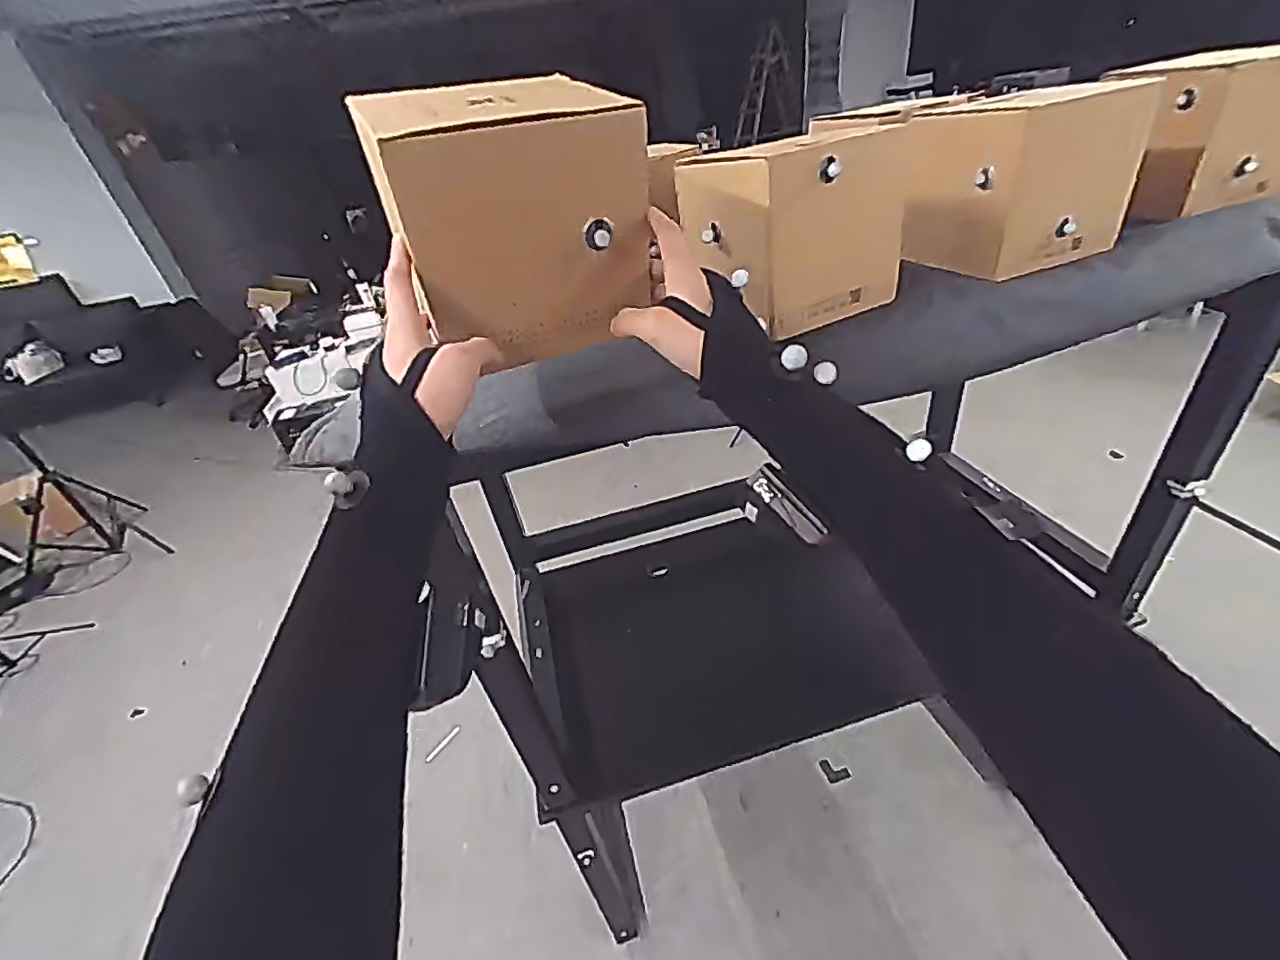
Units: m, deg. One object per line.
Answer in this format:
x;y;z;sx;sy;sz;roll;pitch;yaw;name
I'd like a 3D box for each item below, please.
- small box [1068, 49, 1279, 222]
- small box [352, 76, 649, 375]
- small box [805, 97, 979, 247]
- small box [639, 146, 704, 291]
0.726;-0.452;0.718;0.168;0.176;0.179;-13;35;-3;small box
-0.106;-0.210;0.440;0.179;0.176;0.168;-20;46;-19;small box
0.371;-0.467;0.828;0.168;0.176;0.179;-16;34;-10;small box
-0.013;-0.388;0.810;0.168;0.176;0.179;-17;36;-10;small box
